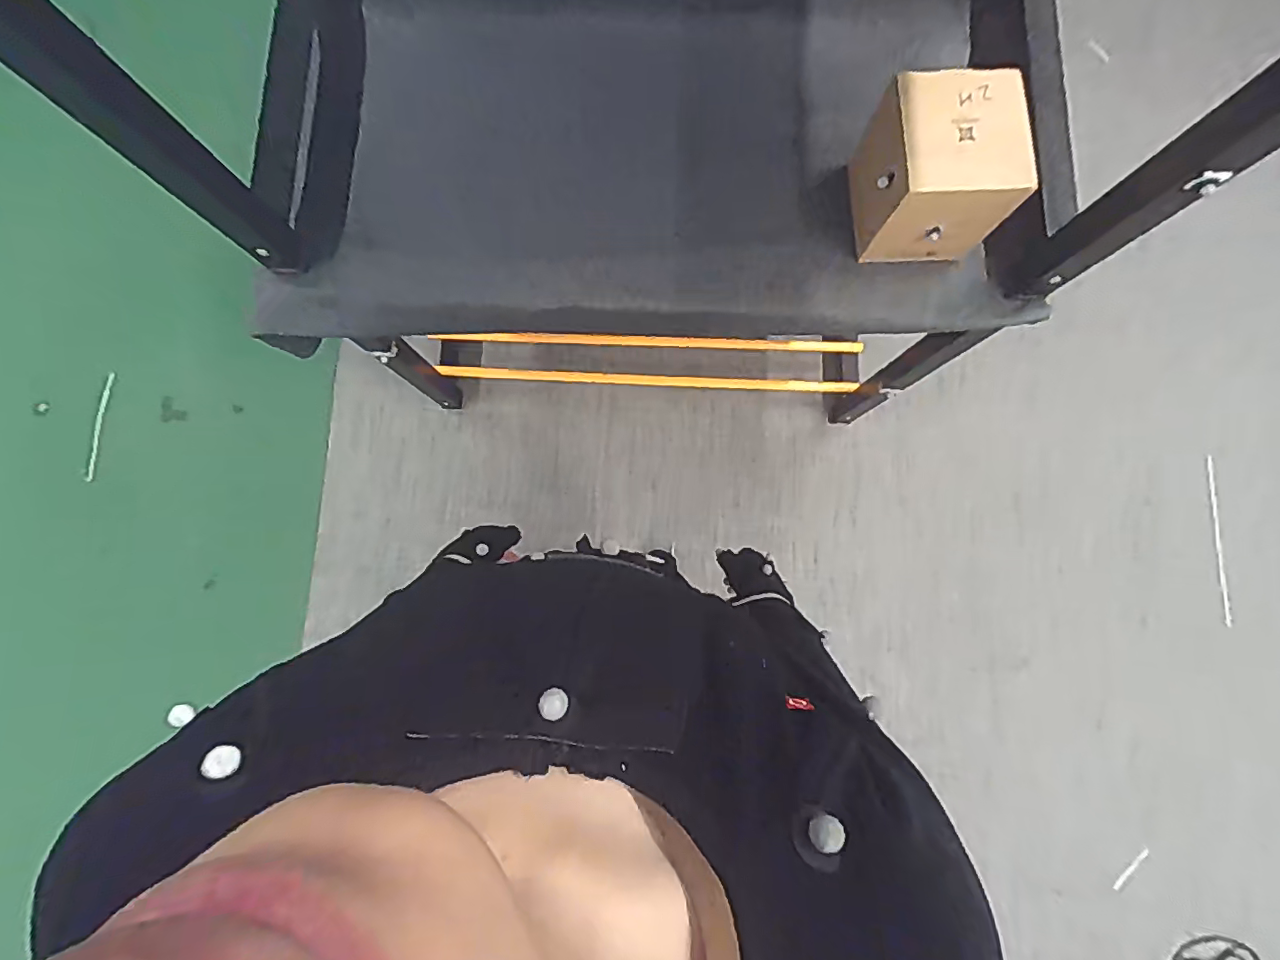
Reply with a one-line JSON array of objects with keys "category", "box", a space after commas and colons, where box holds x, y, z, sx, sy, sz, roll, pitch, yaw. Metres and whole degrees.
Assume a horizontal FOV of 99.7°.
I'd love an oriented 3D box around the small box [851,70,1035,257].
[{"category": "small box", "box": [0.420, -0.440, 0.778, 0.168, 0.176, 0.179, -2, 81, -1]}]
